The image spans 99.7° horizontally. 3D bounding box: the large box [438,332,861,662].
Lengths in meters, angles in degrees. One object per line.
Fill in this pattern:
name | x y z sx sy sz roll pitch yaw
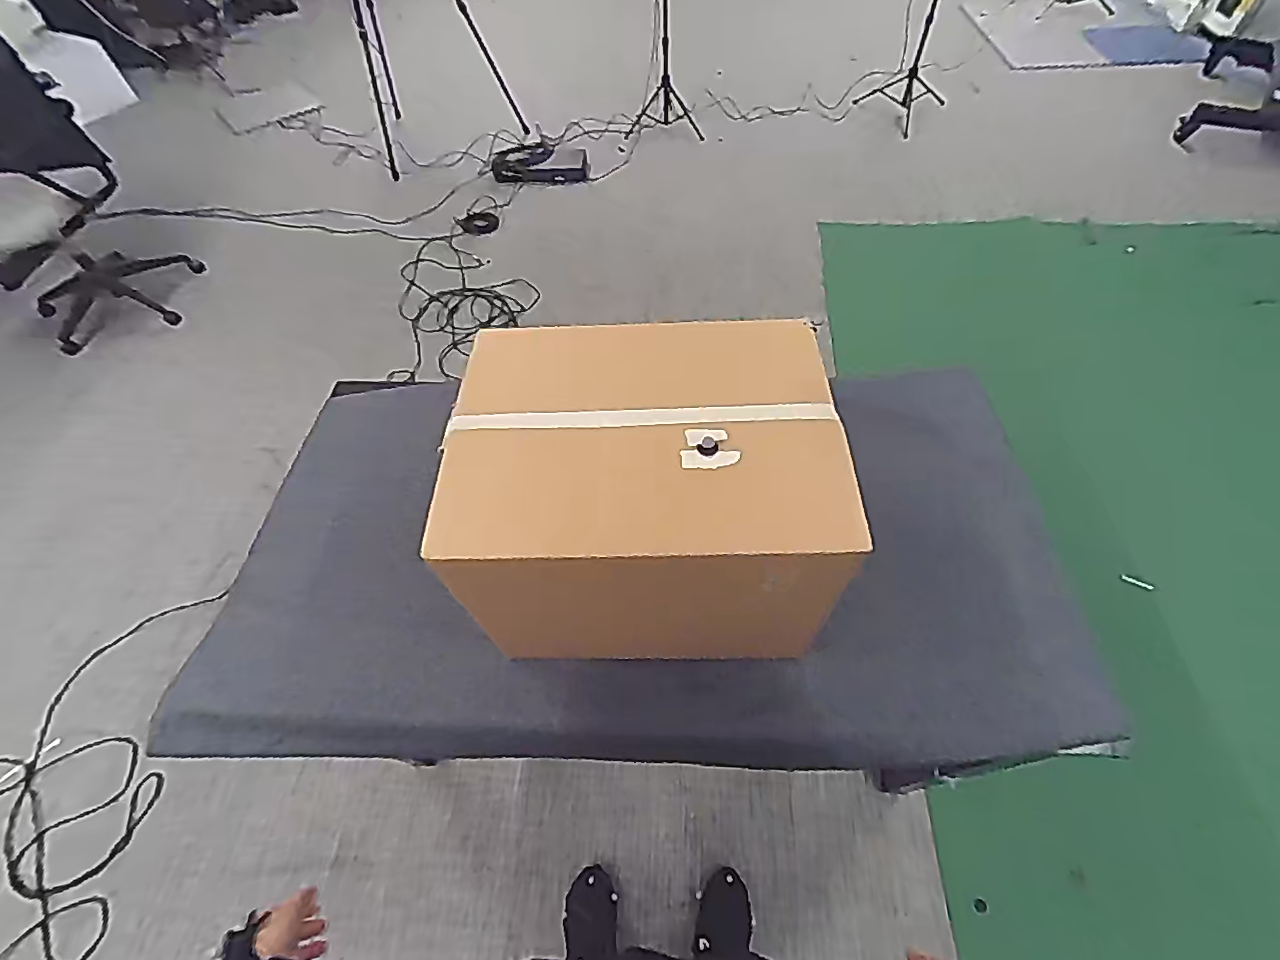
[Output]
large box | 0.010 0.035 0.705 0.408 0.320 0.320 -1 56 2
